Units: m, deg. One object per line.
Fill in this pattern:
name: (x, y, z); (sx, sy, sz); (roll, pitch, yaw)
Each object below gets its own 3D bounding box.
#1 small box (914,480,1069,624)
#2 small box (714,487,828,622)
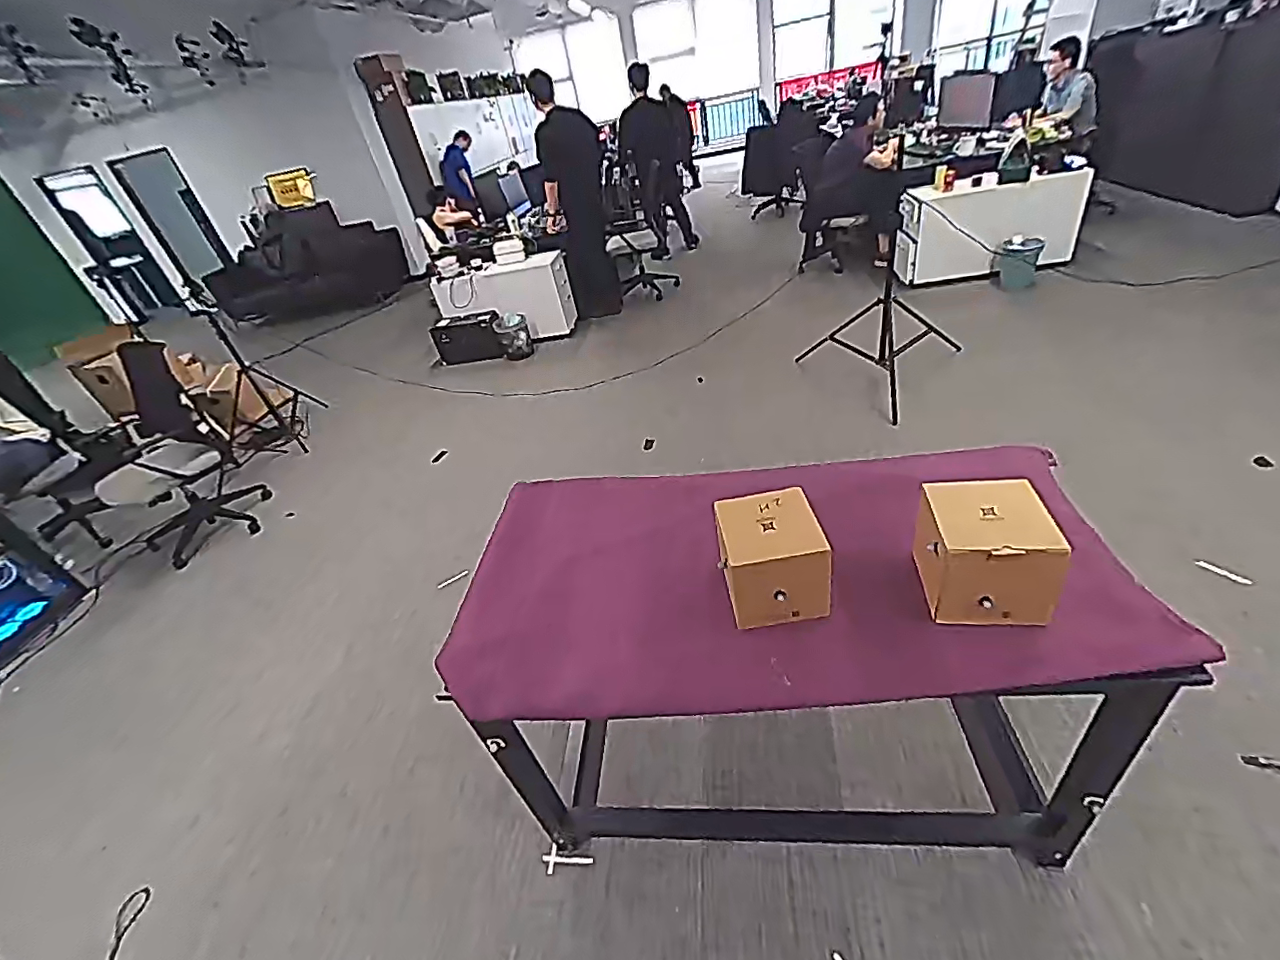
small box: (0.573, 0.118, 0.912); (0.168, 0.176, 0.179); (-3, 35, 15)
small box: (0.237, 0.141, 0.990); (0.168, 0.176, 0.179); (-10, 35, 4)
